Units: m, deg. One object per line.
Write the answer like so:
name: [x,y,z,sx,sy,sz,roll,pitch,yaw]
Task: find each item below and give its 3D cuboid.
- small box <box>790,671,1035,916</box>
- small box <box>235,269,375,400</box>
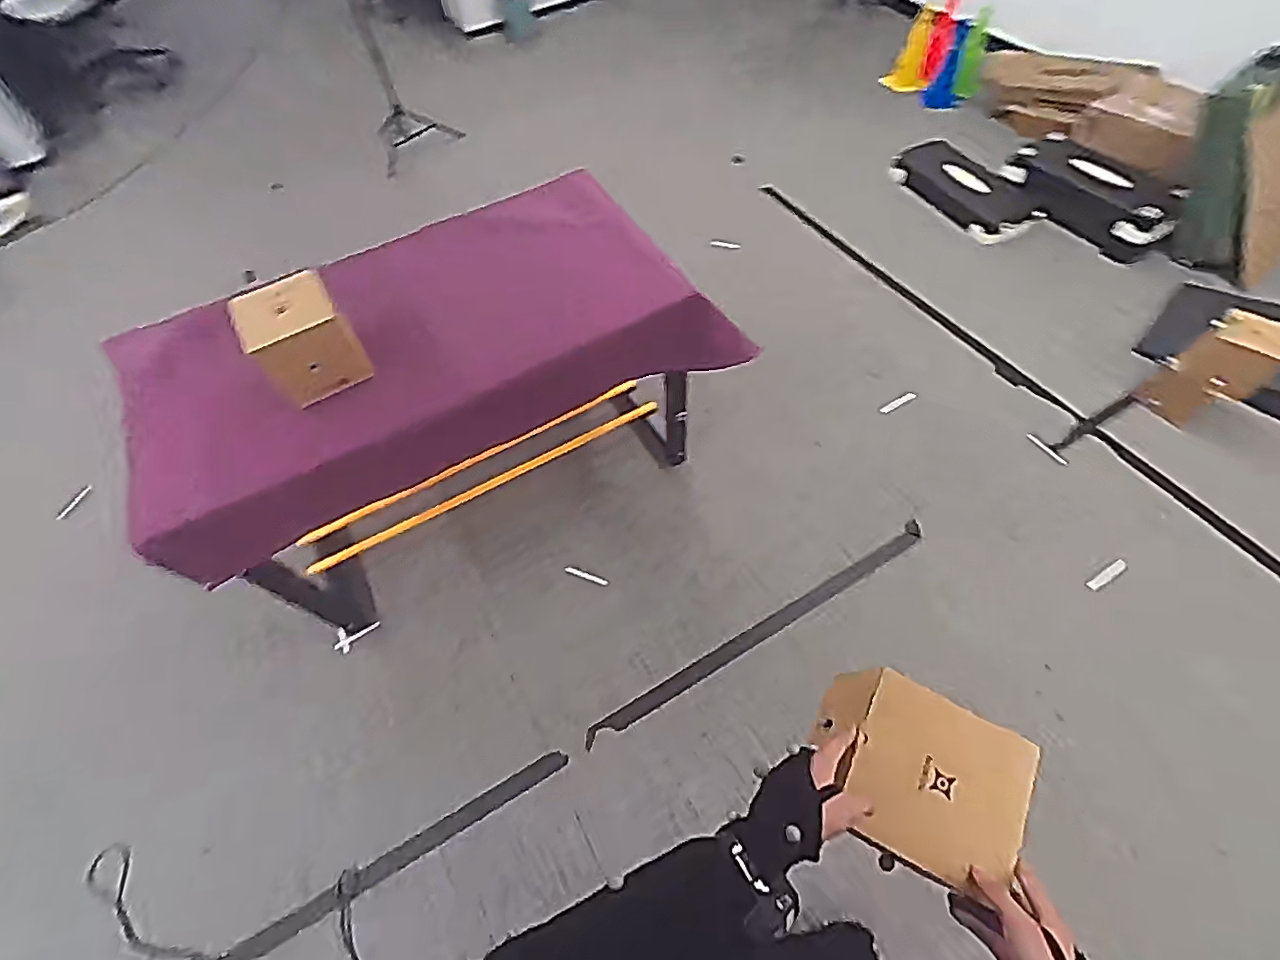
small box: [0.298,0.339,0.621,0.179,0.176,0.168,25,68,11]
small box: [-0.676,-0.288,1.107,0.168,0.176,0.179,-29,62,-14]
